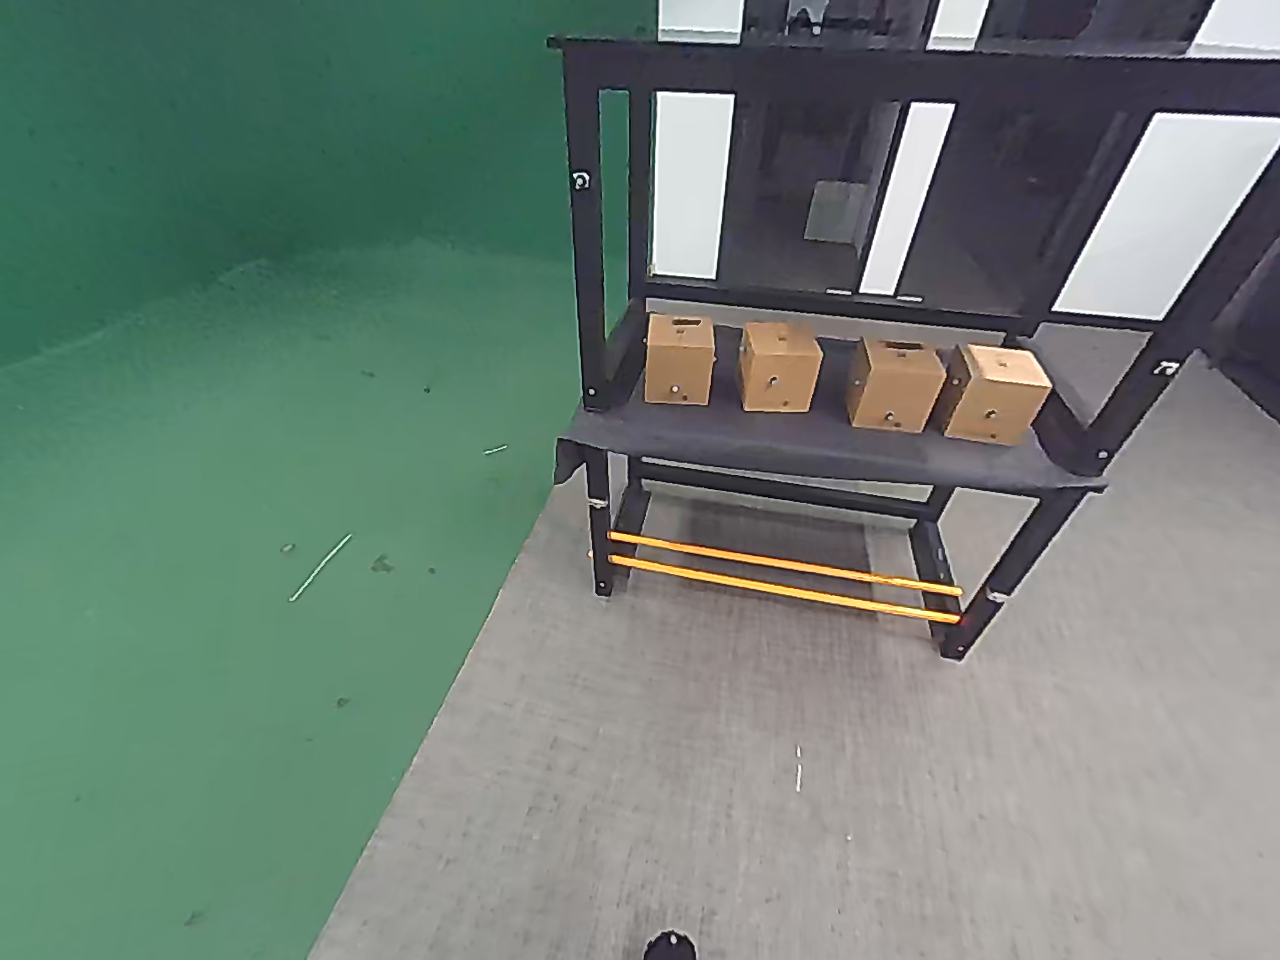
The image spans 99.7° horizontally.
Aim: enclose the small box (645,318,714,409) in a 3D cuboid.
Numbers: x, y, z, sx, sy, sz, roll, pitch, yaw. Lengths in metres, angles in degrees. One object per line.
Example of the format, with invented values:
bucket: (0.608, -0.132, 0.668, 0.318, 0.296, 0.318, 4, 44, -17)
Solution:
small box: (0.102, -0.307, 1.415, 0.168, 0.176, 0.179, 3, 41, 2)
